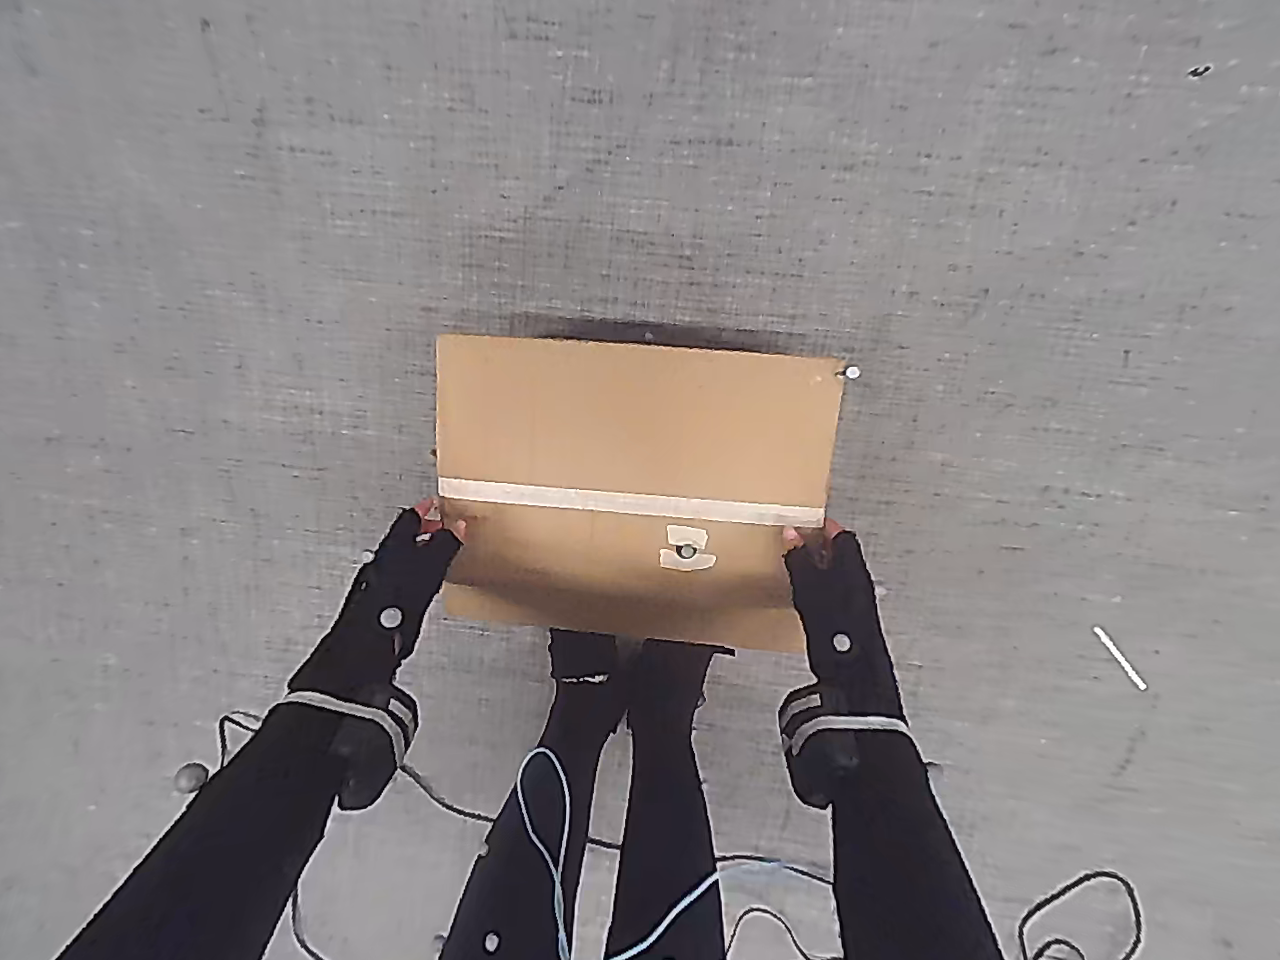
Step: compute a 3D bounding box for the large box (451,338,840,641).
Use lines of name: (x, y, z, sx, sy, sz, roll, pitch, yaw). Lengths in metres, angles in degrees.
large box: (0.004, -0.014, 0.721, 0.408, 0.320, 0.320, 5, 103, 4)
